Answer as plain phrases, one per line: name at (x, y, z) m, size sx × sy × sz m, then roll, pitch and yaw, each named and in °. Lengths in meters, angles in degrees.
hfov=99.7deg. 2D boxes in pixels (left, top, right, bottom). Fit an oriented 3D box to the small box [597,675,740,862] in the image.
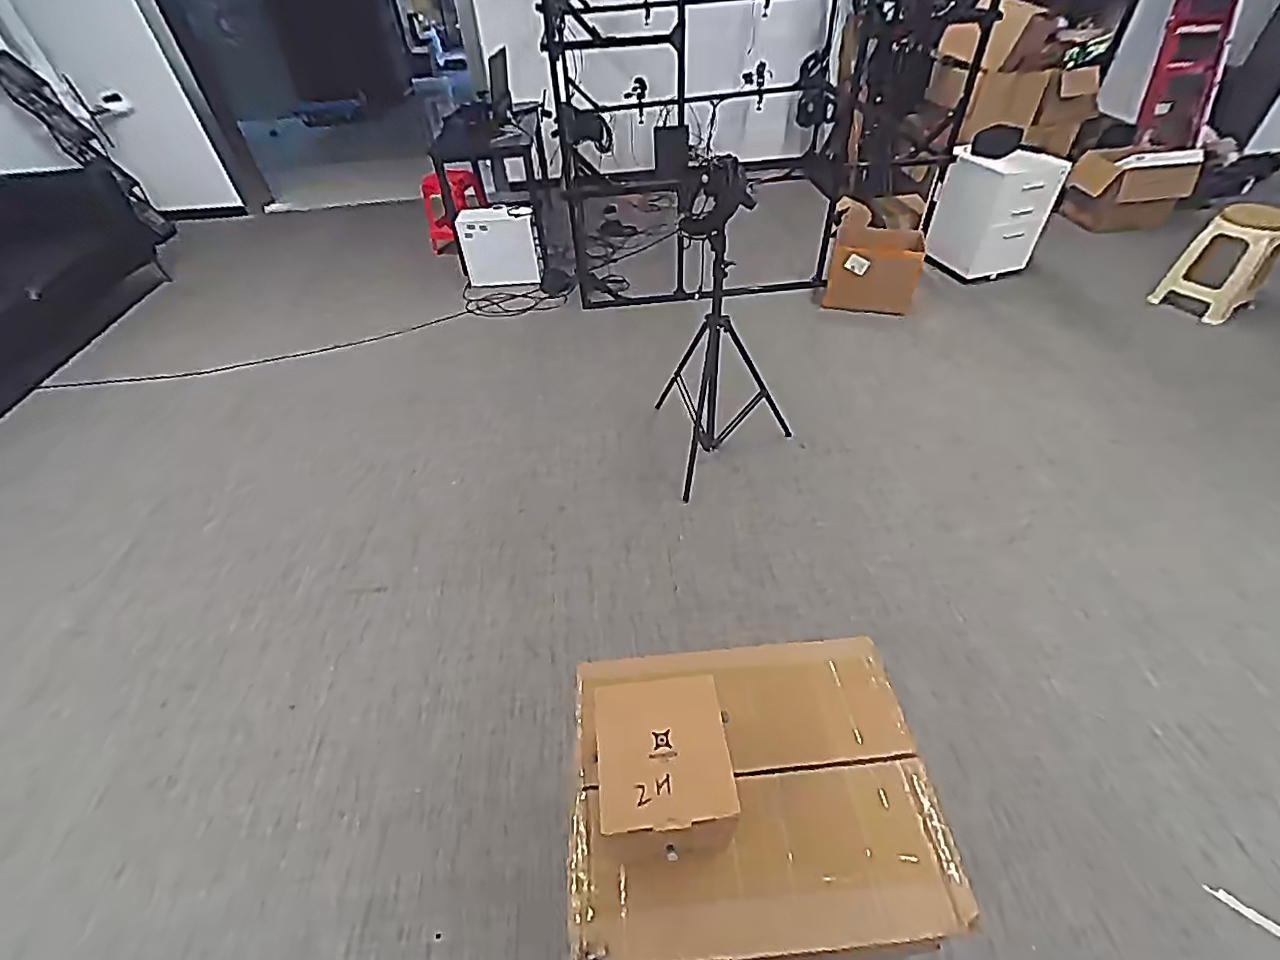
small box at (0.031, 0.394, 0.740) m, size 0.168 × 0.176 × 0.179 m, roll -6°, pitch 46°, yaw -2°
